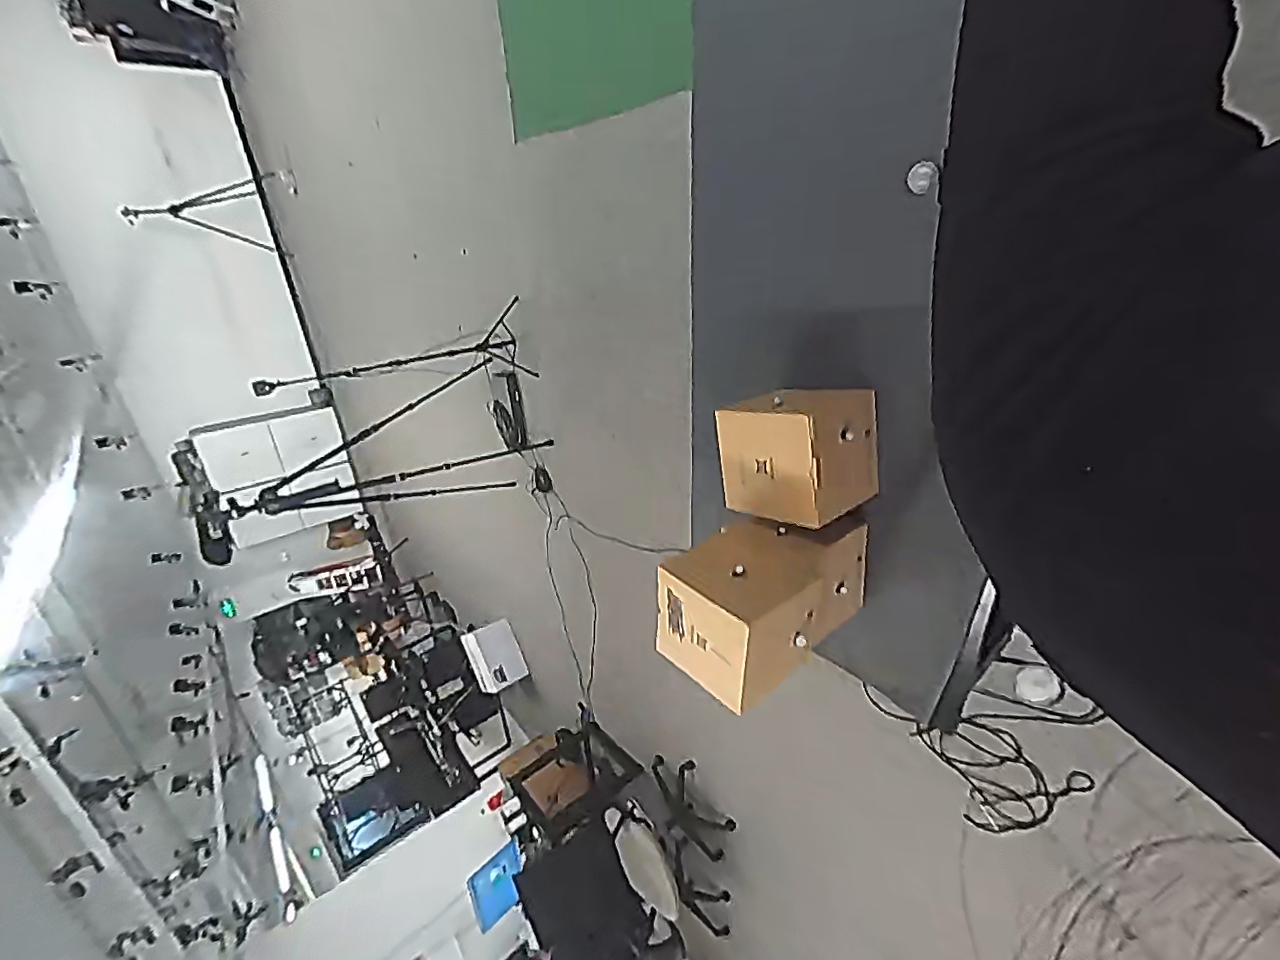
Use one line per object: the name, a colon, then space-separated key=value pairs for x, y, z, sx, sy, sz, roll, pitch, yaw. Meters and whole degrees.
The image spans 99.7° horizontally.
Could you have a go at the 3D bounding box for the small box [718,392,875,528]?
small box: x=0.249 y=-0.042 z=0.844 sx=0.179 sy=0.176 sz=0.168 roll=12 pitch=116 yaw=51

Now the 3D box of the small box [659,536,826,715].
small box: x=0.148 y=0.203 z=0.815 sx=0.179 sy=0.176 sz=0.168 roll=27 pitch=127 yaw=43
